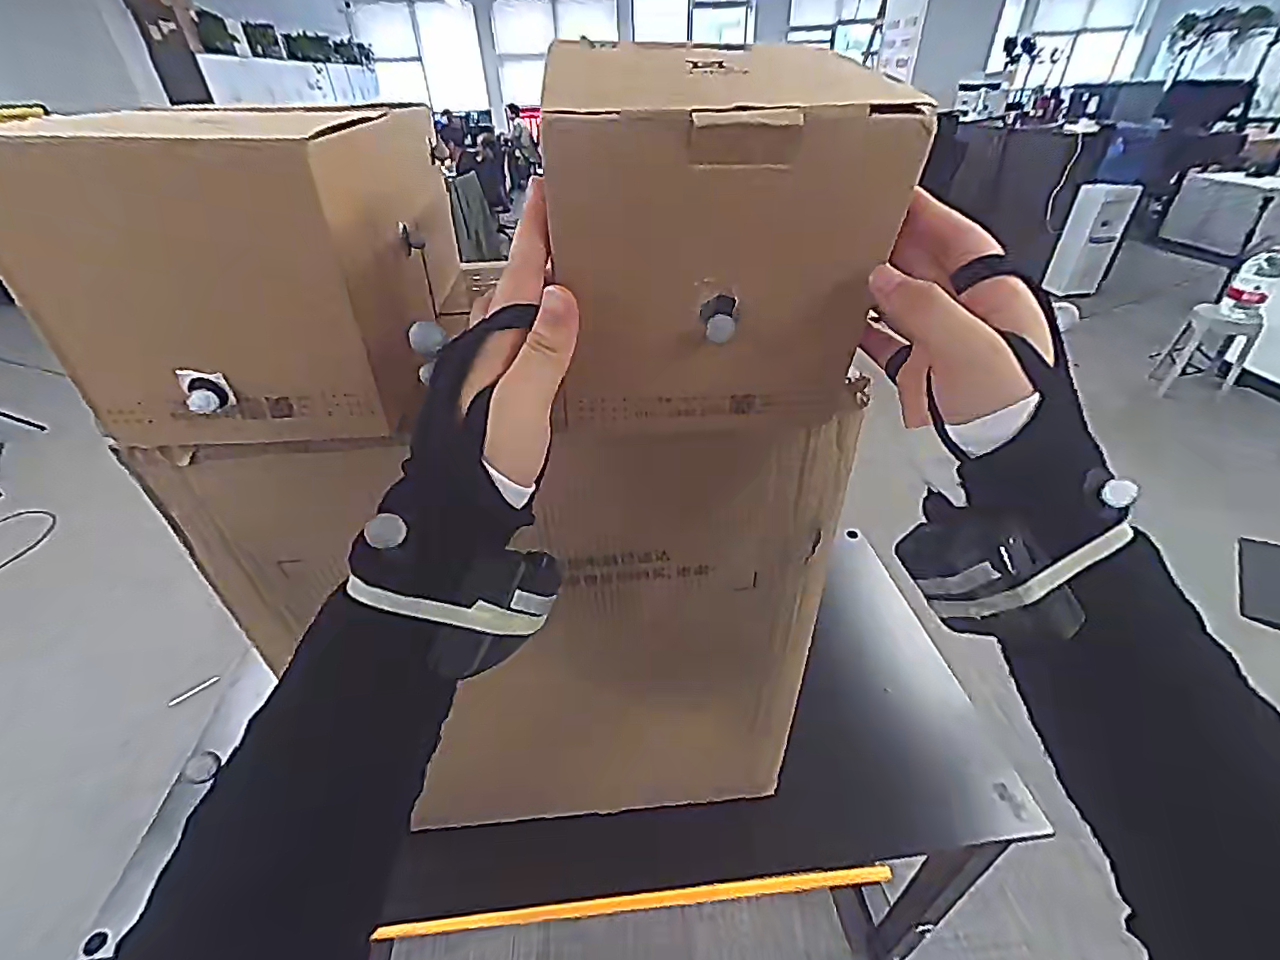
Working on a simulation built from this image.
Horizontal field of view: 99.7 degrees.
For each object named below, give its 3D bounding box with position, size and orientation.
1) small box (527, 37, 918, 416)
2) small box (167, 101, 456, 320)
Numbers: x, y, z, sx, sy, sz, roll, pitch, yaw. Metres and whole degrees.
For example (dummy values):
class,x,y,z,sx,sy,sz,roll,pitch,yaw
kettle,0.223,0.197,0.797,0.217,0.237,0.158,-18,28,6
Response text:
class,x,y,z,sx,sy,sz,roll,pitch,yaw
small box,0.029,-0.151,0.333,0.168,0.176,0.179,-3,46,-4
small box,-0.288,-0.265,0.528,0.168,0.176,0.179,-5,35,-5
